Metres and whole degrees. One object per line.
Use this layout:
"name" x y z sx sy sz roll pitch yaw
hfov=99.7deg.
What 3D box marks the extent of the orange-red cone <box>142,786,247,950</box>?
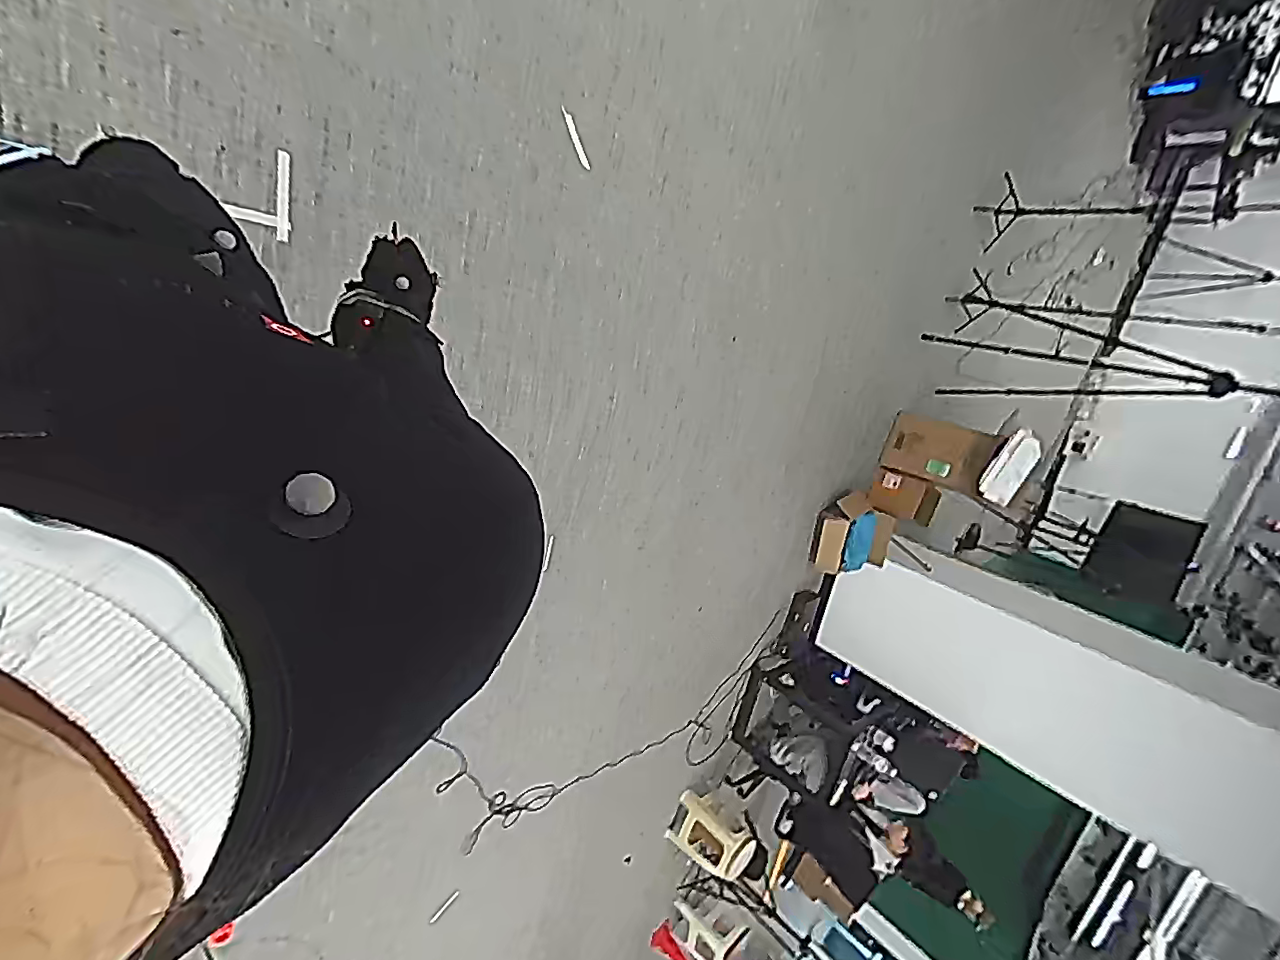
"orange-red cone" -1.057 0.967 1.311 0.199 0.360 0.198 10 101 -47
